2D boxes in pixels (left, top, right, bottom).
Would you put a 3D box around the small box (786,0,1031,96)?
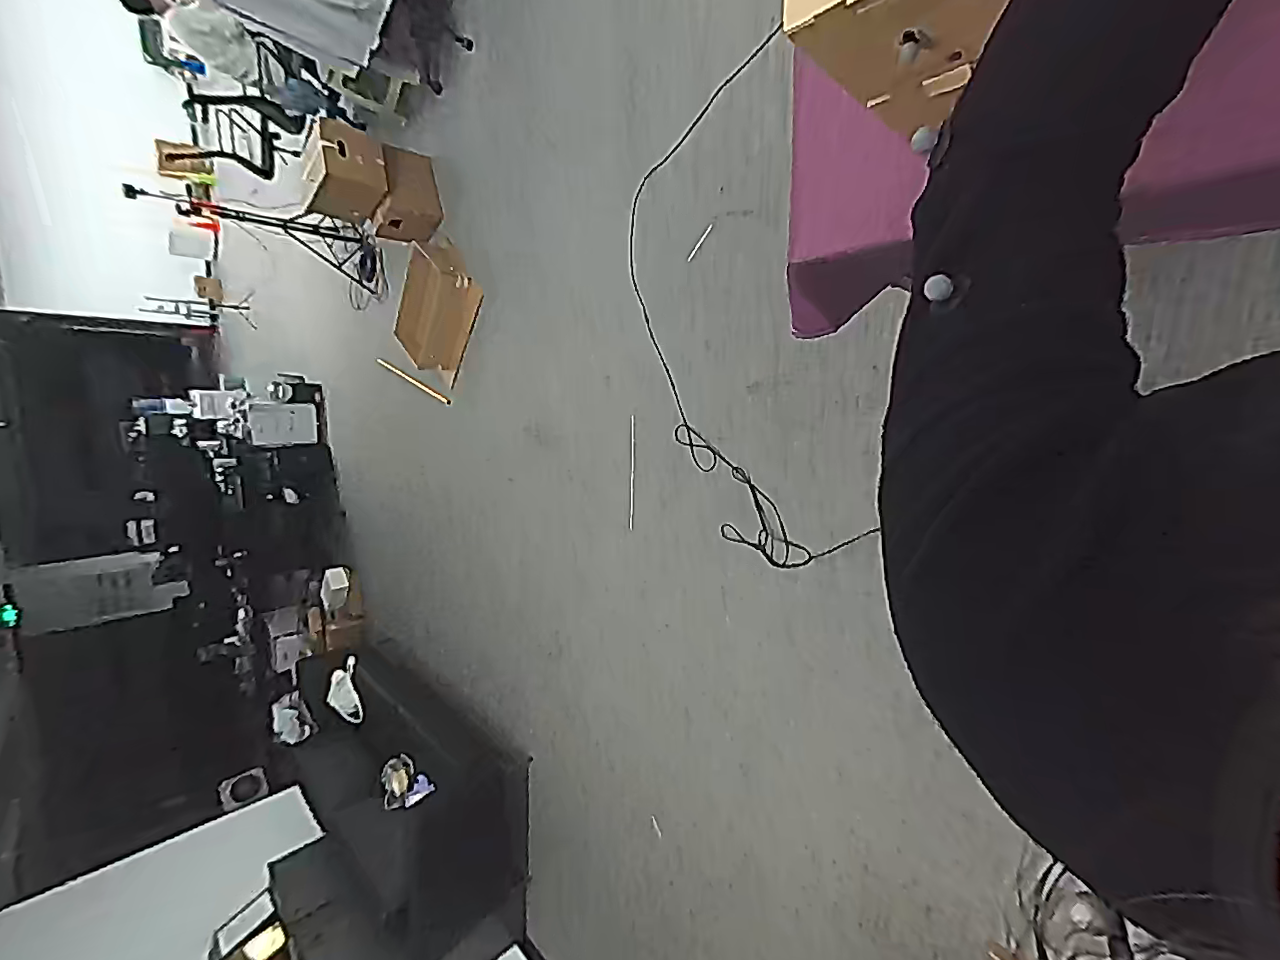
[{"bbox_3d":[0.252,-0.491,0.496,0.168,0.176,0.179,9,102,44],"label":"small box"}]
